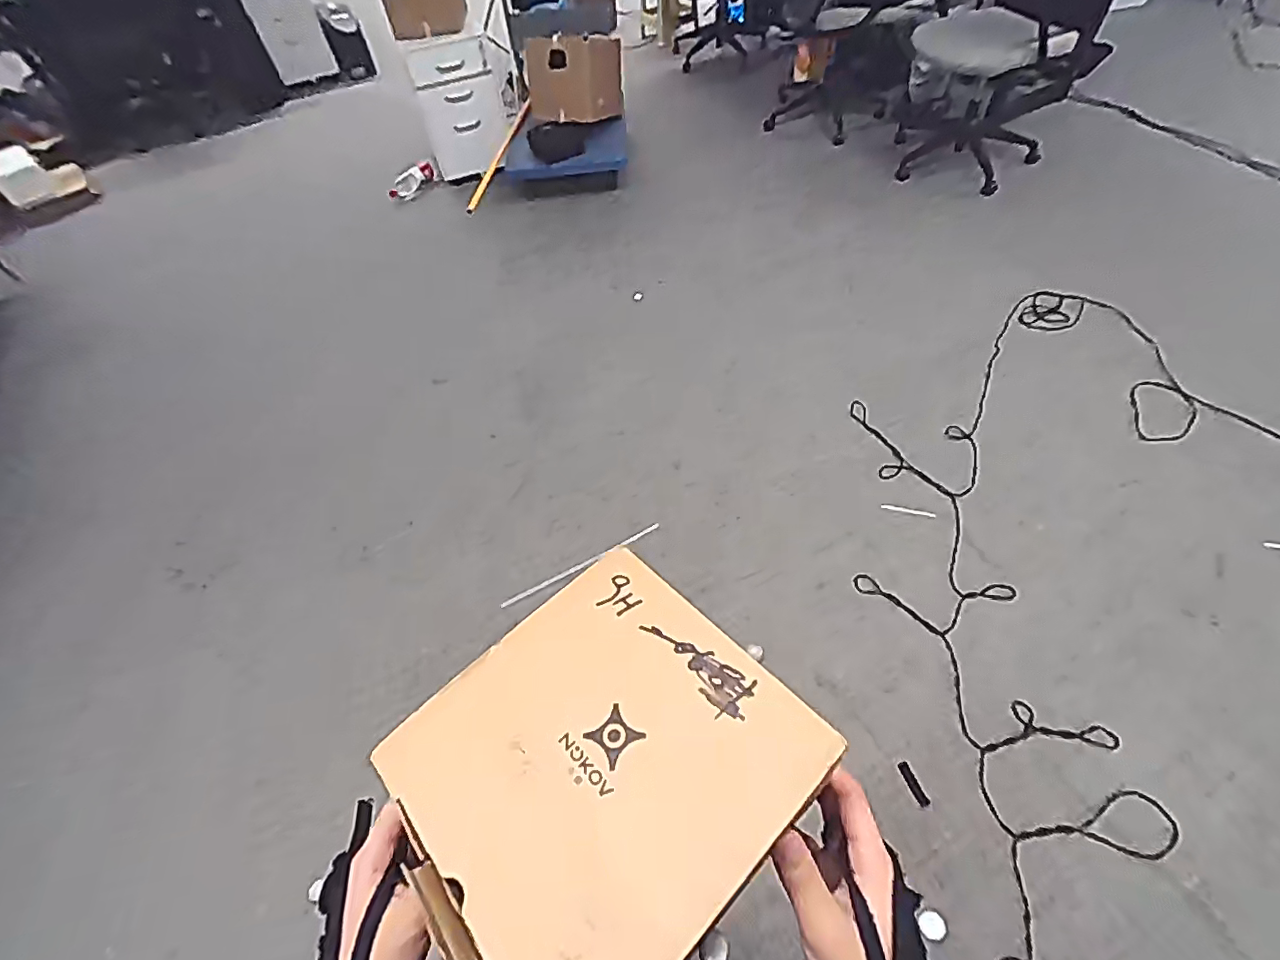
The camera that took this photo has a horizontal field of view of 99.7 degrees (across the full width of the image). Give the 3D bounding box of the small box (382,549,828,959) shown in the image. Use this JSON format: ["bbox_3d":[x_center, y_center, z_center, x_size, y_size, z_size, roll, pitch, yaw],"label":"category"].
[{"bbox_3d":[-0.012,0.185,0.334,0.179,0.176,0.168,-38,55,-22],"label":"small box"}]
